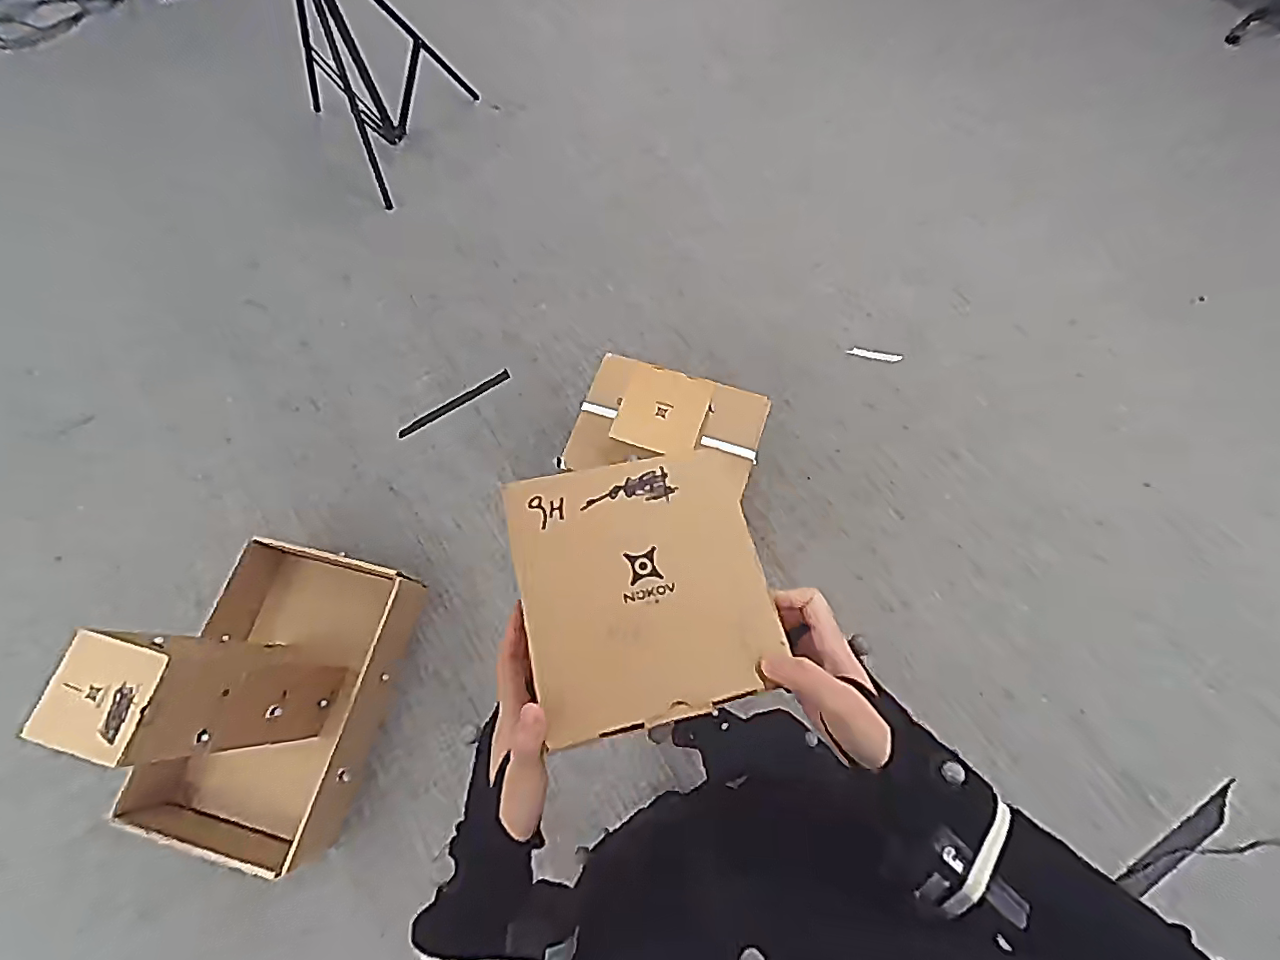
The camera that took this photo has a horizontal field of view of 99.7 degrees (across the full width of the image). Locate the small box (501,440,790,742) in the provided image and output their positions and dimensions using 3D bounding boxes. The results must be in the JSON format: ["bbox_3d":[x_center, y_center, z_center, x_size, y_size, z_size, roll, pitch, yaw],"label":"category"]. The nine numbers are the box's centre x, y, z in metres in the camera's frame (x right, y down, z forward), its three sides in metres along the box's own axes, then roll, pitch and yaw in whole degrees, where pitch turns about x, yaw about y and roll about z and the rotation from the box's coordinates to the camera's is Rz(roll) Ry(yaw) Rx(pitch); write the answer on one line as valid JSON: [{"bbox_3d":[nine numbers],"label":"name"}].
[{"bbox_3d":[-0.010,0.092,0.436,0.168,0.176,0.179,-11,69,-14],"label":"small box"}]

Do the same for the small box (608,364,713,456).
[{"bbox_3d":[0.045,-0.107,1.123,0.168,0.176,0.179,18,71,8],"label":"small box"}]

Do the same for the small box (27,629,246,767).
[{"bbox_3d":[-0.824,0.358,0.909,0.179,0.176,0.168,13,71,8],"label":"small box"}]

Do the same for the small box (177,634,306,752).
[{"bbox_3d":[-0.813,0.414,1.063,0.179,0.176,0.168,14,72,6],"label":"small box"}]

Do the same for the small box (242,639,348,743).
[{"bbox_3d":[-0.807,0.471,1.214,0.179,0.176,0.168,16,72,7],"label":"small box"}]
